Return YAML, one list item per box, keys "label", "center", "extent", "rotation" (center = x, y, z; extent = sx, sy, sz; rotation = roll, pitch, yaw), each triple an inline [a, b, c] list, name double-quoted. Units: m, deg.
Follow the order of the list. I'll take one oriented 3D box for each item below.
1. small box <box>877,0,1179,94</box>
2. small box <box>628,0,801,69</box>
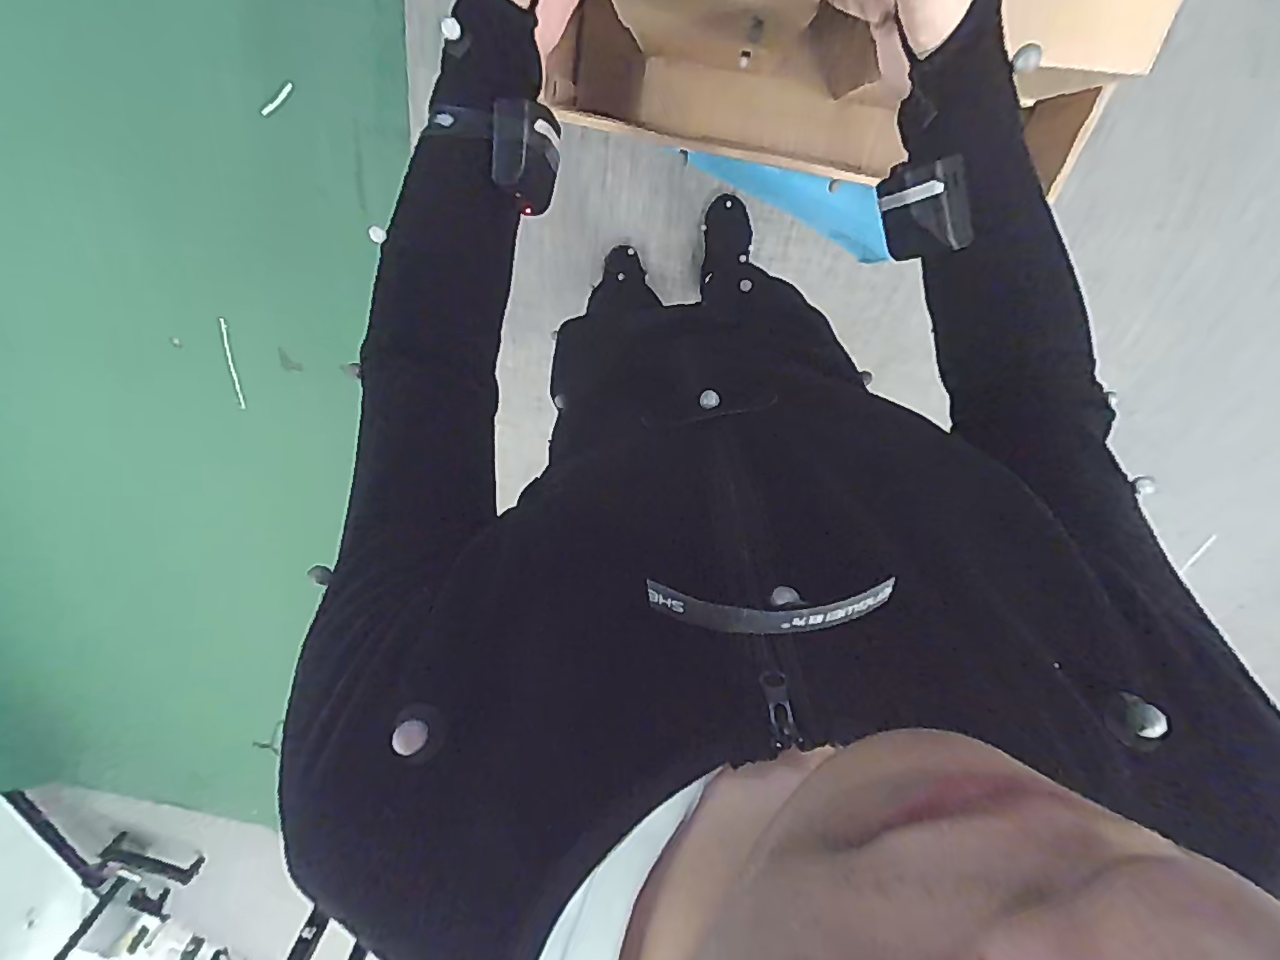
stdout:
- label: "small box"
  center: [0.320, -0.433, 0.445]
  extent: [0.179, 0.176, 0.168]
  rotation: [9, 121, 4]
- label: "small box"
  center: [0.093, -0.574, 0.592]
  extent: [0.179, 0.176, 0.168]
  rotation: [11, 121, 0]
